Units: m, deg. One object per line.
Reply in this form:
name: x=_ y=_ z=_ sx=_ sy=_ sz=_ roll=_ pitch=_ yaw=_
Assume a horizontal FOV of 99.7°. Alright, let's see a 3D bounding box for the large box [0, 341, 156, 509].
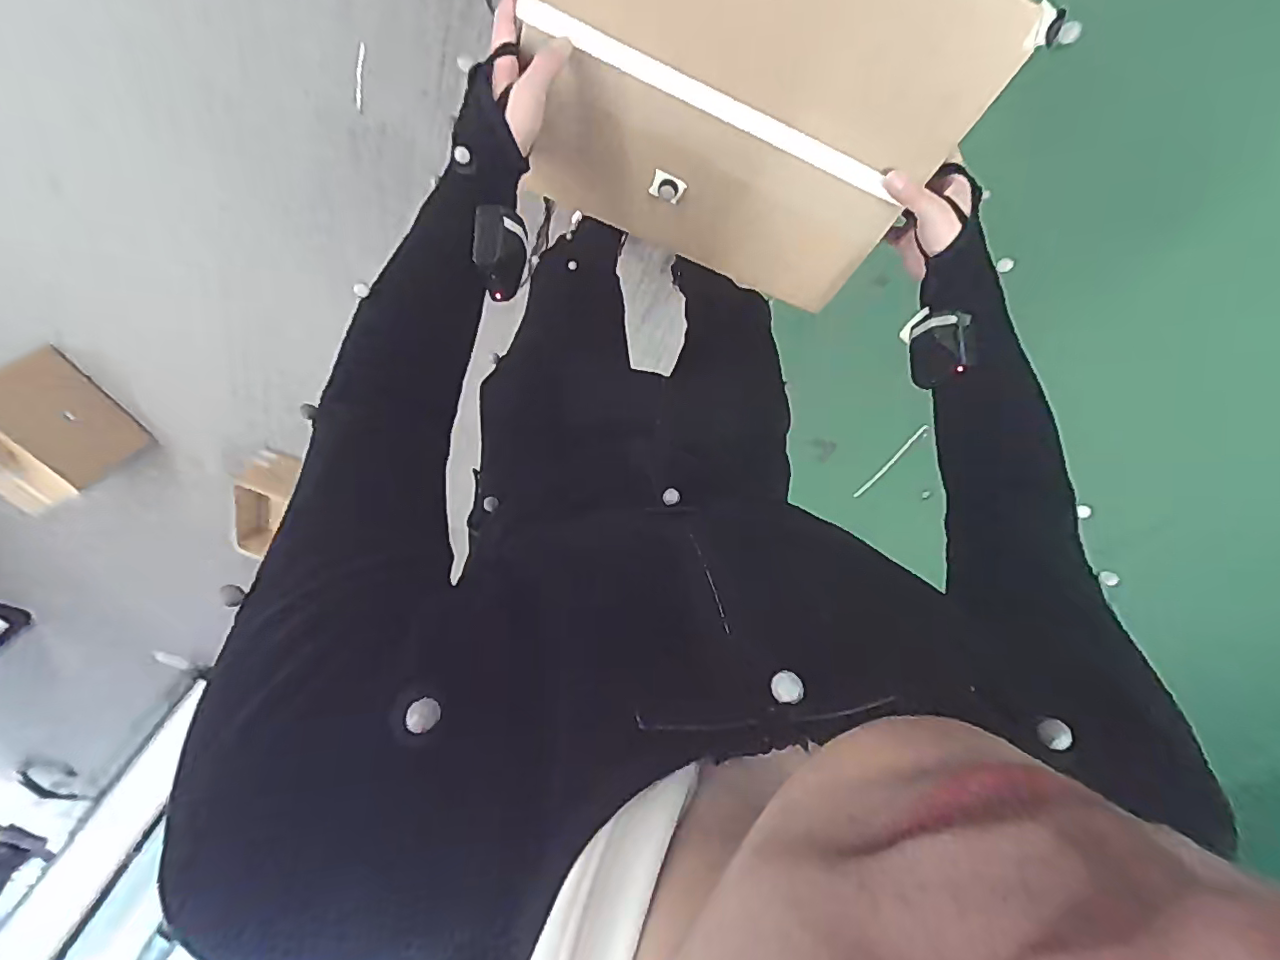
large box: x=-1.972 y=-0.176 z=1.777 sx=0.320 sy=0.320 sz=0.408 roll=-14 pitch=126 yaw=20
